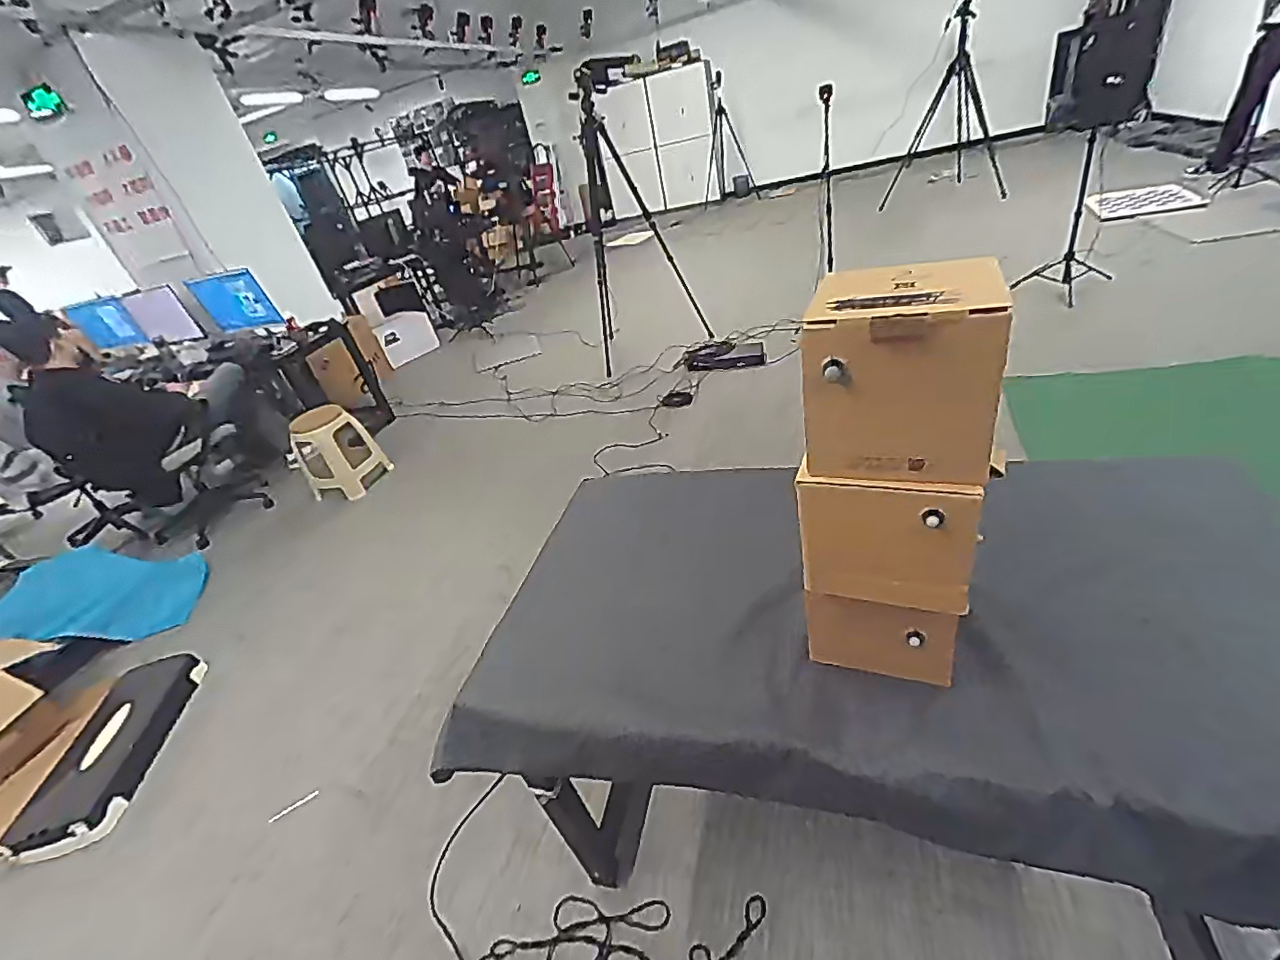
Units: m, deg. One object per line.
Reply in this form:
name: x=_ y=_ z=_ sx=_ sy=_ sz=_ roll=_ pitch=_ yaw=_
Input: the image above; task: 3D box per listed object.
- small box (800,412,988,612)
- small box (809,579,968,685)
small box: x=0.298 y=0.033 z=0.639 sx=0.179 sy=0.176 sz=0.168 roll=5 pitch=37 yaw=27
small box: x=0.339 y=0.154 z=0.742 sx=0.179 sy=0.176 sz=0.168 roll=2 pitch=35 yaw=27
